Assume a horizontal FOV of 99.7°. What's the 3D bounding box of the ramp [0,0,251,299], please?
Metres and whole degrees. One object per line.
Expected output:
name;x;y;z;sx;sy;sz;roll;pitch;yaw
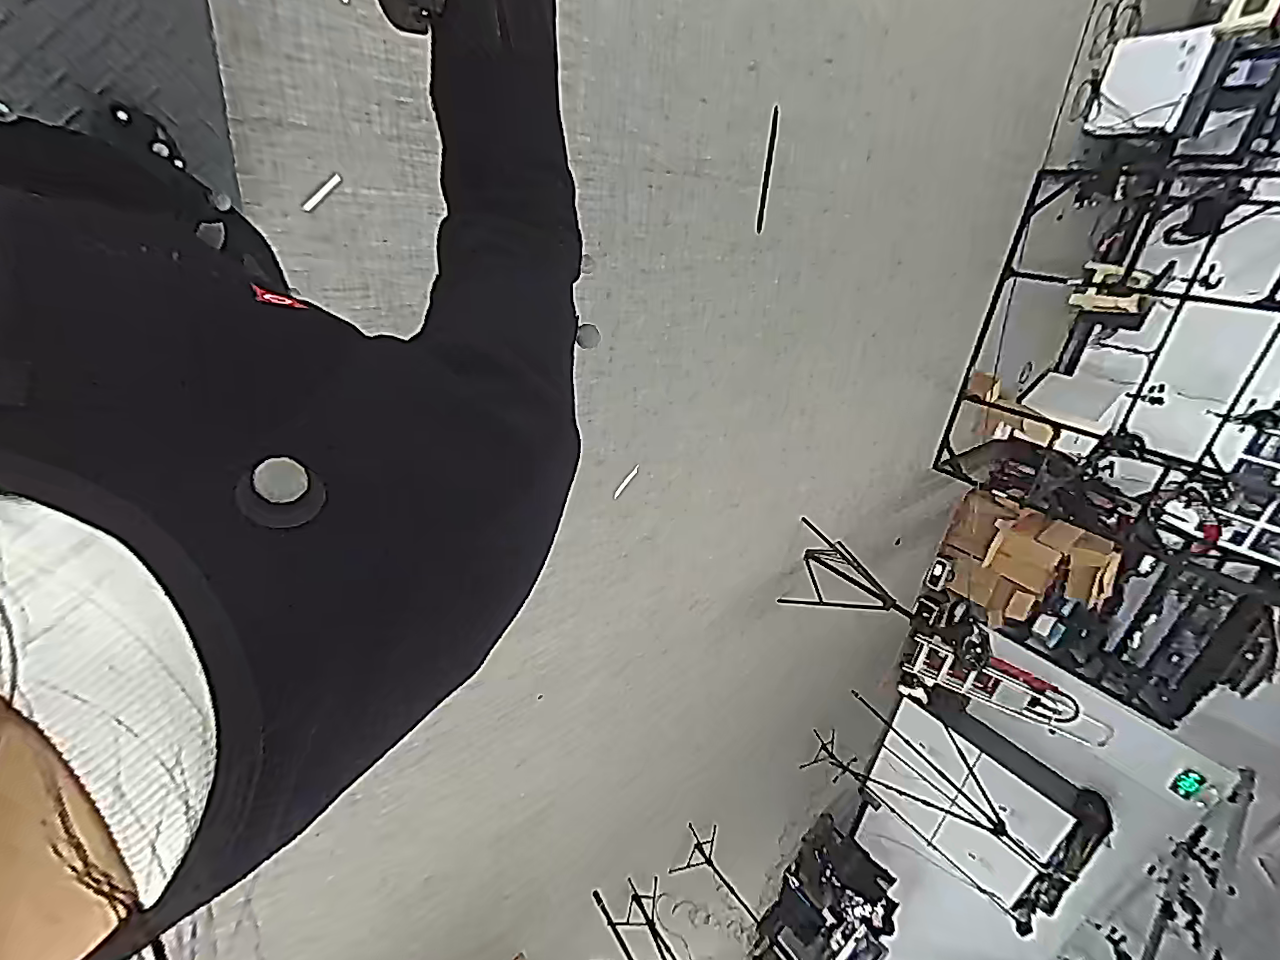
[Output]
ramp;-0.925;-0.754;0.771;0.509;0.206;0.991;-16;125;-37
